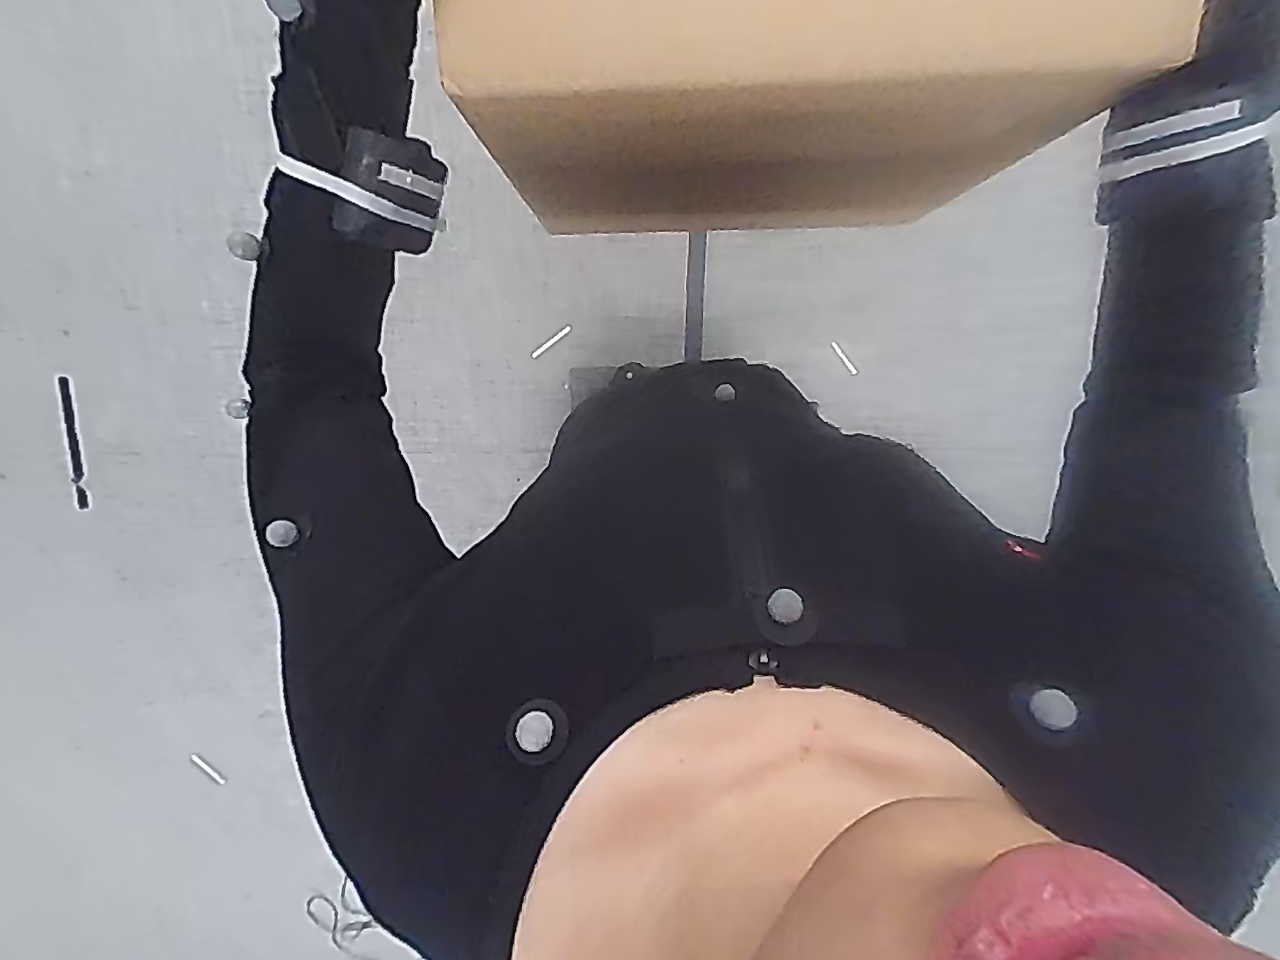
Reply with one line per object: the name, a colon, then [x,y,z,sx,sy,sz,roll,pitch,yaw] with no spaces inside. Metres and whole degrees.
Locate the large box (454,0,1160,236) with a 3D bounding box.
large box: [0.087,-0.405,0.431,0.408,0.320,0.320,-2,101,1]

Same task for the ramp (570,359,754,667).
ramp: [0.064,0.147,1.603,0.509,0.206,0.991,-2,102,-1]
